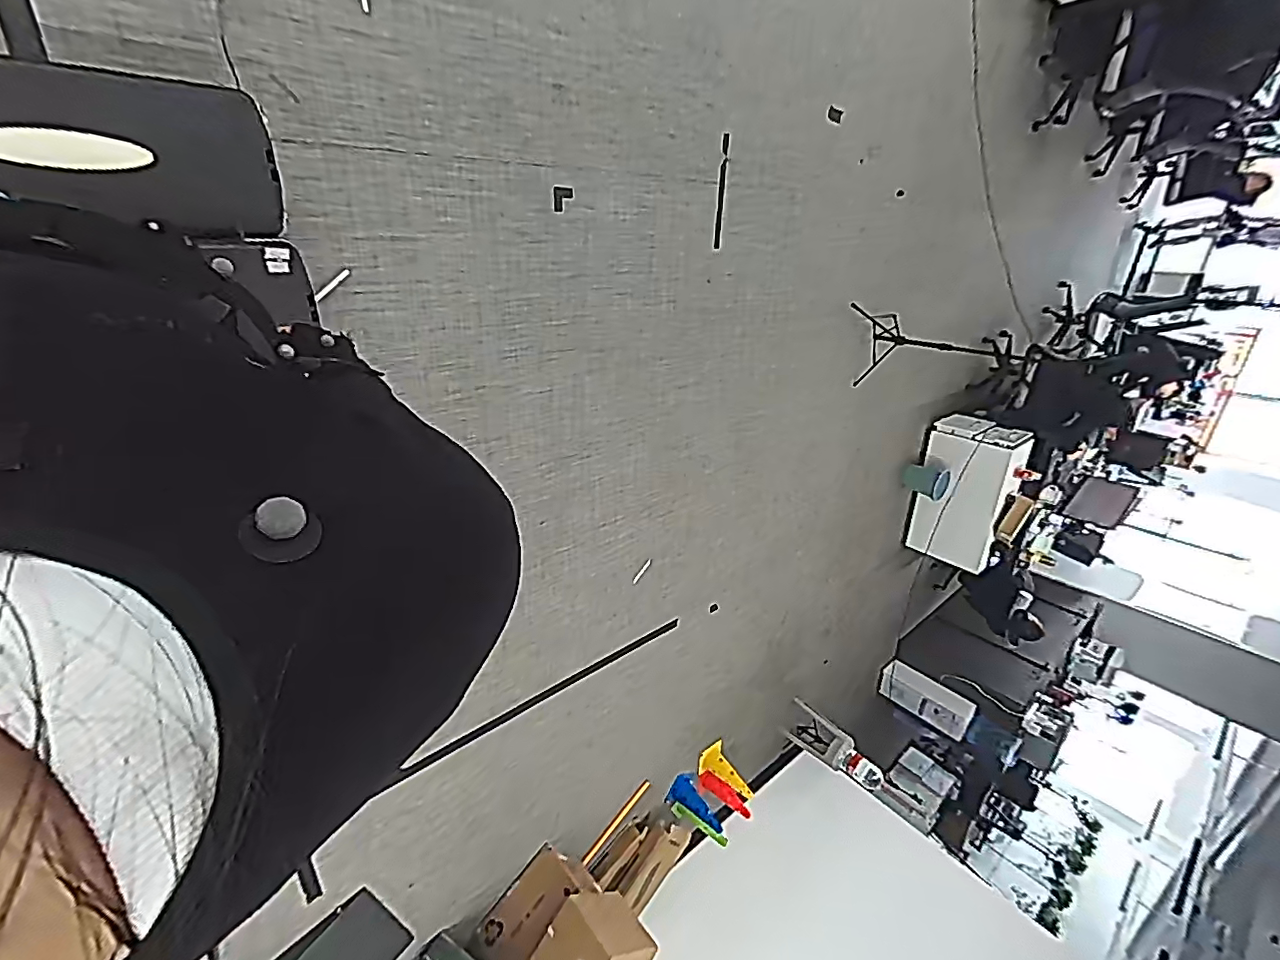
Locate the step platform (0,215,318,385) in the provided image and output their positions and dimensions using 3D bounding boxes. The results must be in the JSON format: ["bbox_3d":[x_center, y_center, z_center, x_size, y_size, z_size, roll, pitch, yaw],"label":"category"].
[{"bbox_3d":[-1.046,-0.371,1.086,0.684,0.204,0.286,-18,119,-35],"label":"step platform"}]
